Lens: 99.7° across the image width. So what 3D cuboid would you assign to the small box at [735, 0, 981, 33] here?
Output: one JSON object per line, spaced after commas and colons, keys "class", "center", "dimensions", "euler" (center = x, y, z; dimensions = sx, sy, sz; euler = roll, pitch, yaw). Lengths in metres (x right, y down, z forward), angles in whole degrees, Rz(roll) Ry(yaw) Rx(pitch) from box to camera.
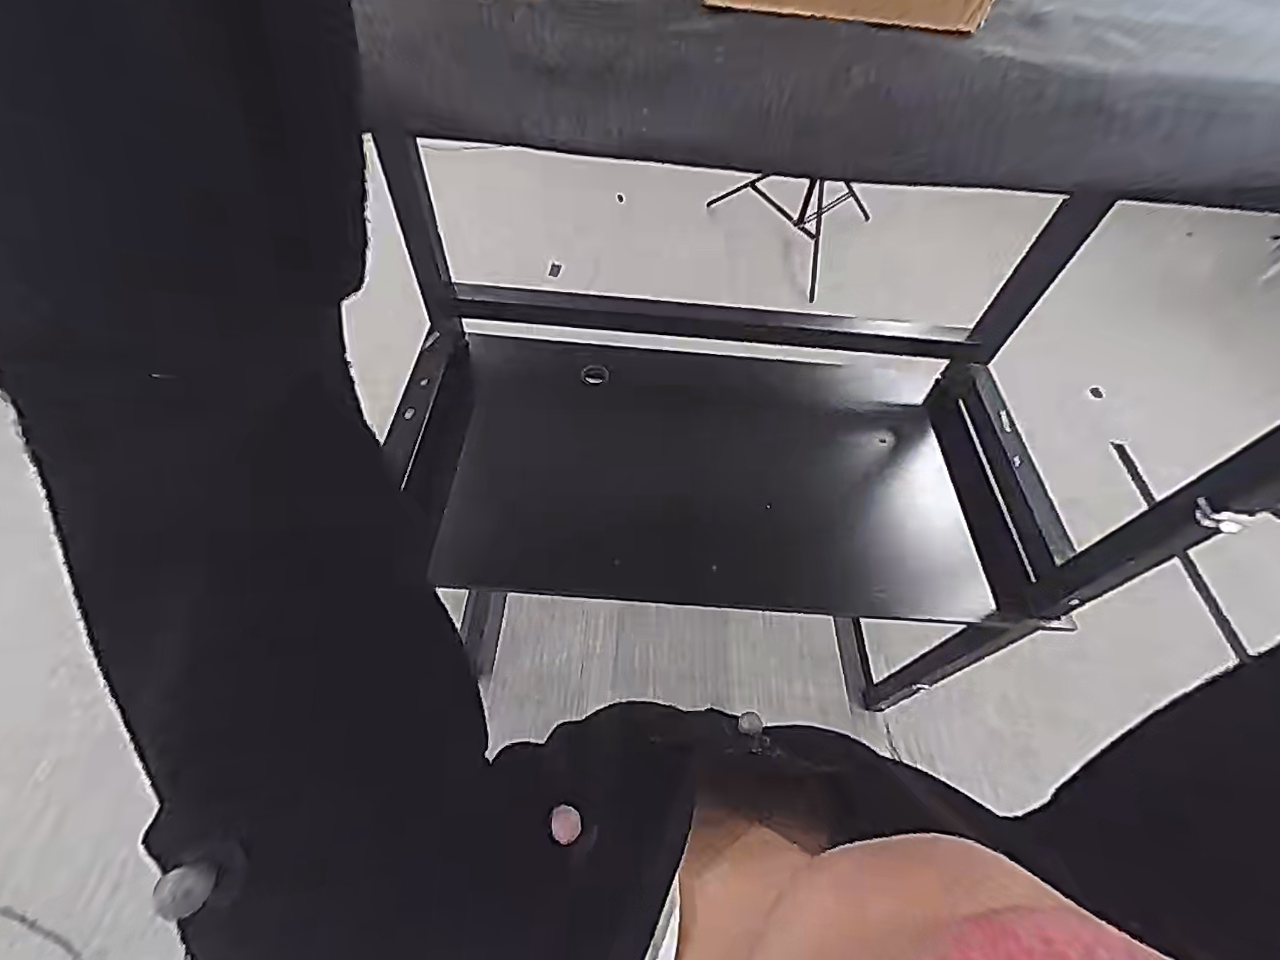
{"class": "small box", "center": [0.126, -0.387, 0.303], "dimensions": [0.168, 0.176, 0.179], "euler": [4, 54, -2]}
